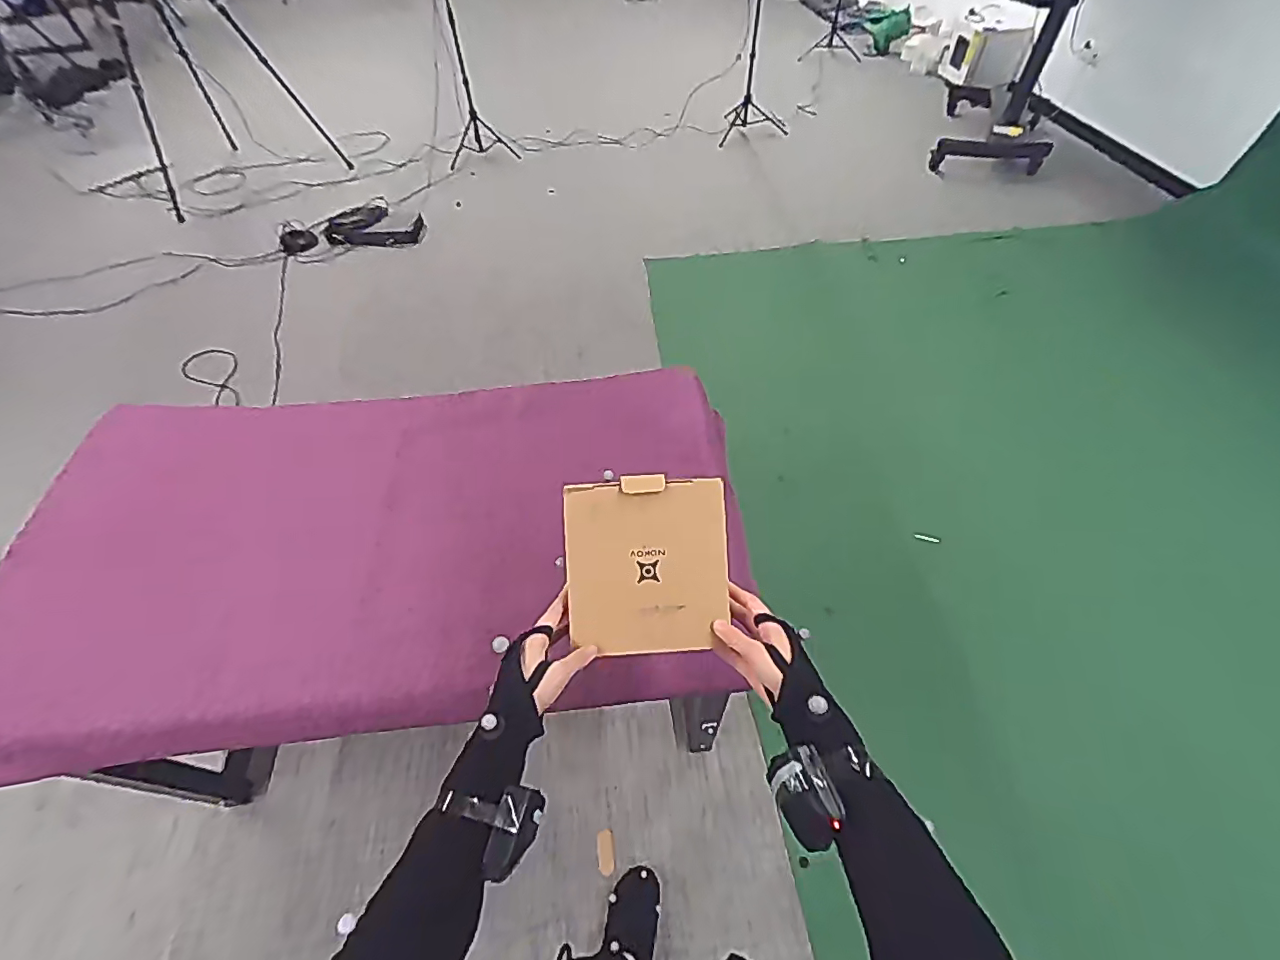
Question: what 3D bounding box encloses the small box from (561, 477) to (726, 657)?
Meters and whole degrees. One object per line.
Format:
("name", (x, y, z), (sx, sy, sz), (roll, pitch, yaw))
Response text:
("small box", (-0.002, 0.090, 0.624), (0.168, 0.176, 0.179), (-2, 89, -3))
